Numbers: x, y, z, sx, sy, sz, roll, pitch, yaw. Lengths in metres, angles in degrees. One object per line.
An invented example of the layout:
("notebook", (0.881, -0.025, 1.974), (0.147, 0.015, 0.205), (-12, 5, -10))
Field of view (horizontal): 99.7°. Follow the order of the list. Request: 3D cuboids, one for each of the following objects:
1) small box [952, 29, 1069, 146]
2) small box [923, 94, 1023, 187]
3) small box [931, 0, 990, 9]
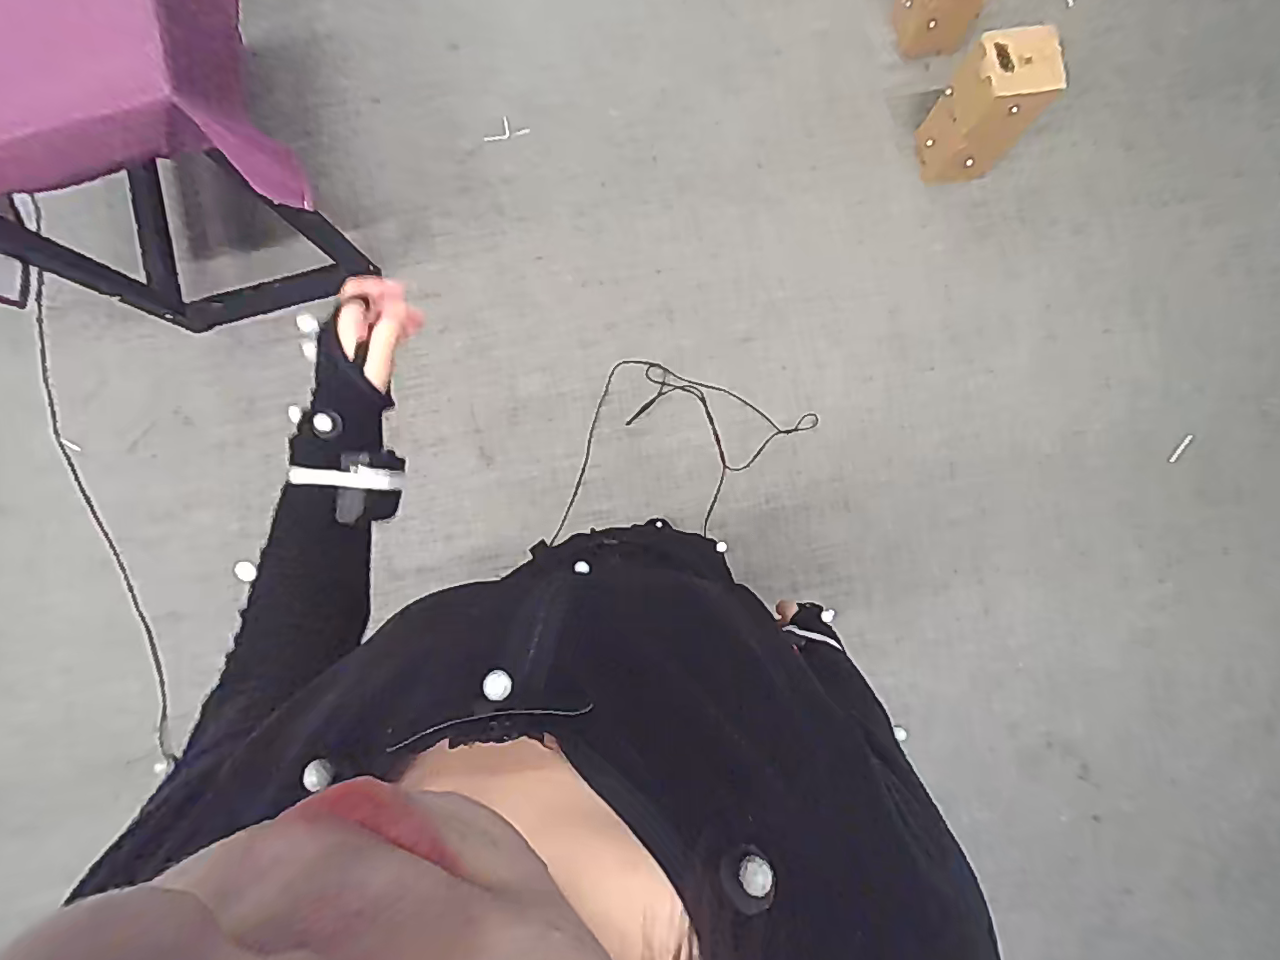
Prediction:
("small box", (0.908, -0.965, 1.346), (0.179, 0.176, 0.168), (-7, 85, 0))
("small box", (0.917, -0.951, 1.510), (0.179, 0.176, 0.168), (-8, 86, 1))
("small box", (0.853, -1.365, 1.381), (0.168, 0.176, 0.179), (-7, 85, 0))
